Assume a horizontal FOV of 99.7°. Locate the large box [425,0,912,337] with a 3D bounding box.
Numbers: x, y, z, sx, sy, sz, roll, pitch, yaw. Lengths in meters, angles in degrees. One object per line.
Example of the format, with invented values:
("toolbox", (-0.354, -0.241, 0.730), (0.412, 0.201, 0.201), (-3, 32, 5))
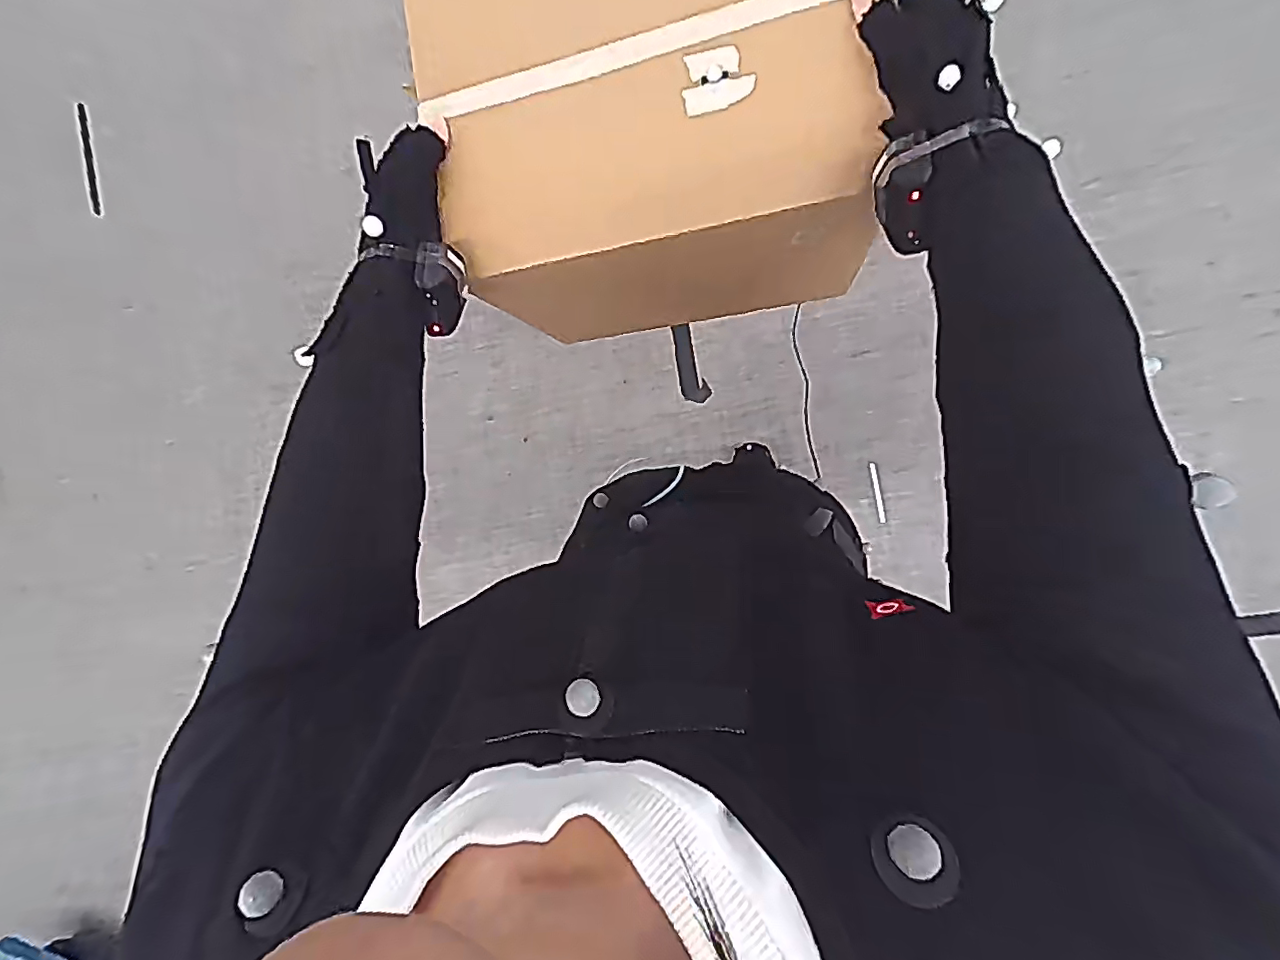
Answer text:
("large box", (0.033, -0.379, 0.613), (0.408, 0.320, 0.320), (-7, 92, 12))
